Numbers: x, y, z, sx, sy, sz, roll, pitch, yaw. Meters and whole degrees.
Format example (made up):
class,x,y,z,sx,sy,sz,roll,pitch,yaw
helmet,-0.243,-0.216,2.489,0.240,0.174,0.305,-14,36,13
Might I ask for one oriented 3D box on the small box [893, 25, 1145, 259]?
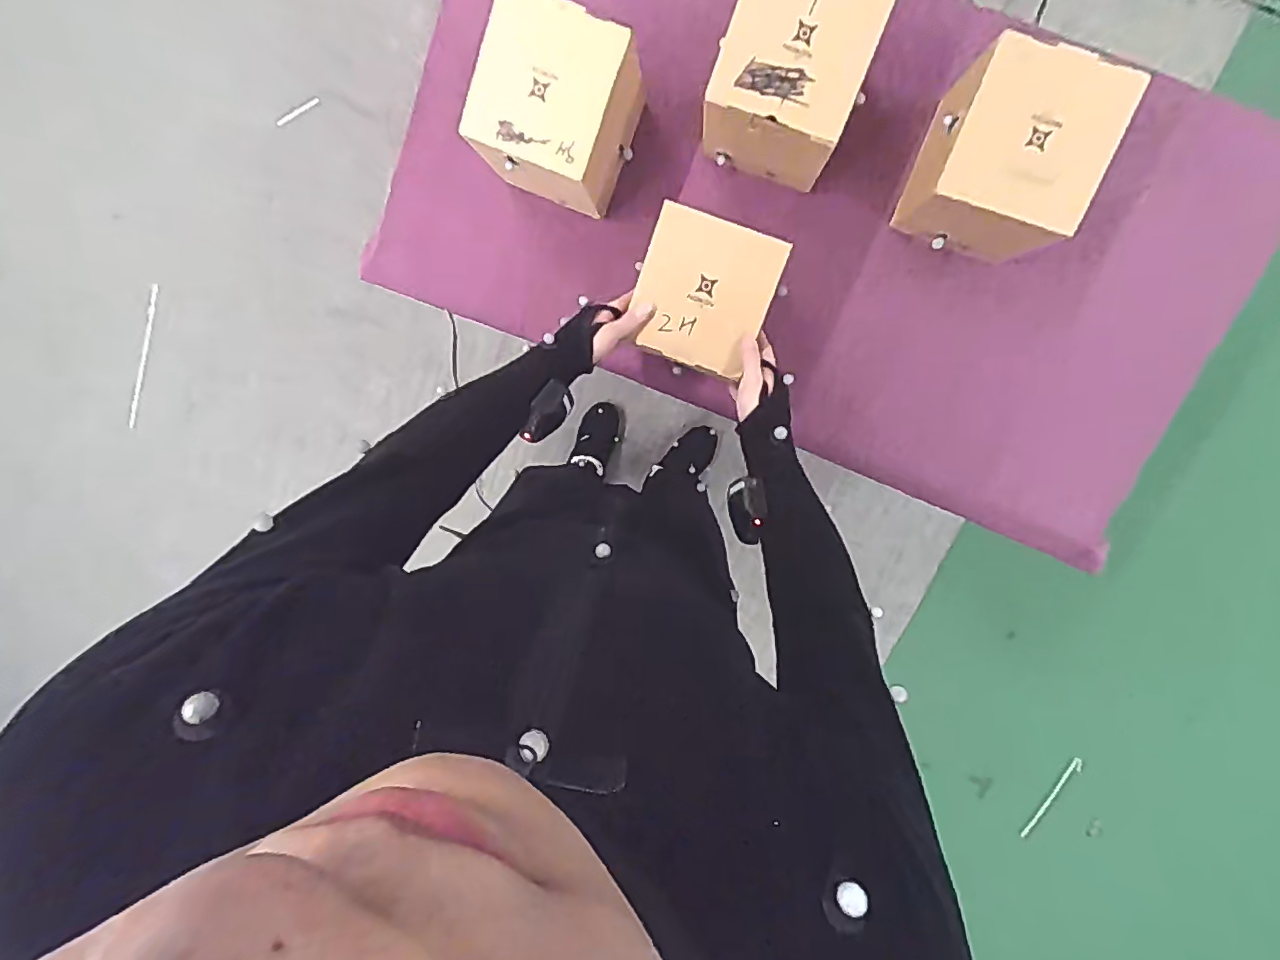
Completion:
class,x,y,z,sx,sy,sz,roll,pitch,yaw
small box,0.451,-0.404,0.681,0.168,0.176,0.179,21,103,2

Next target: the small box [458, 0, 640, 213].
class,x,y,z,sx,sy,sz,roll,pitch,yaw
small box,-0.107,-0.490,0.714,0.168,0.176,0.179,23,102,2

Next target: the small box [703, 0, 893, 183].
class,x,y,z,sx,sy,sz,roll,pitch,yaw
small box,0.187,-0.512,0.685,0.168,0.176,0.179,21,102,1

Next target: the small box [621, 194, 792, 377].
class,x,y,z,sx,sy,sz,roll,pitch,yaw
small box,0.085,-0.252,0.744,0.168,0.176,0.179,21,102,1
